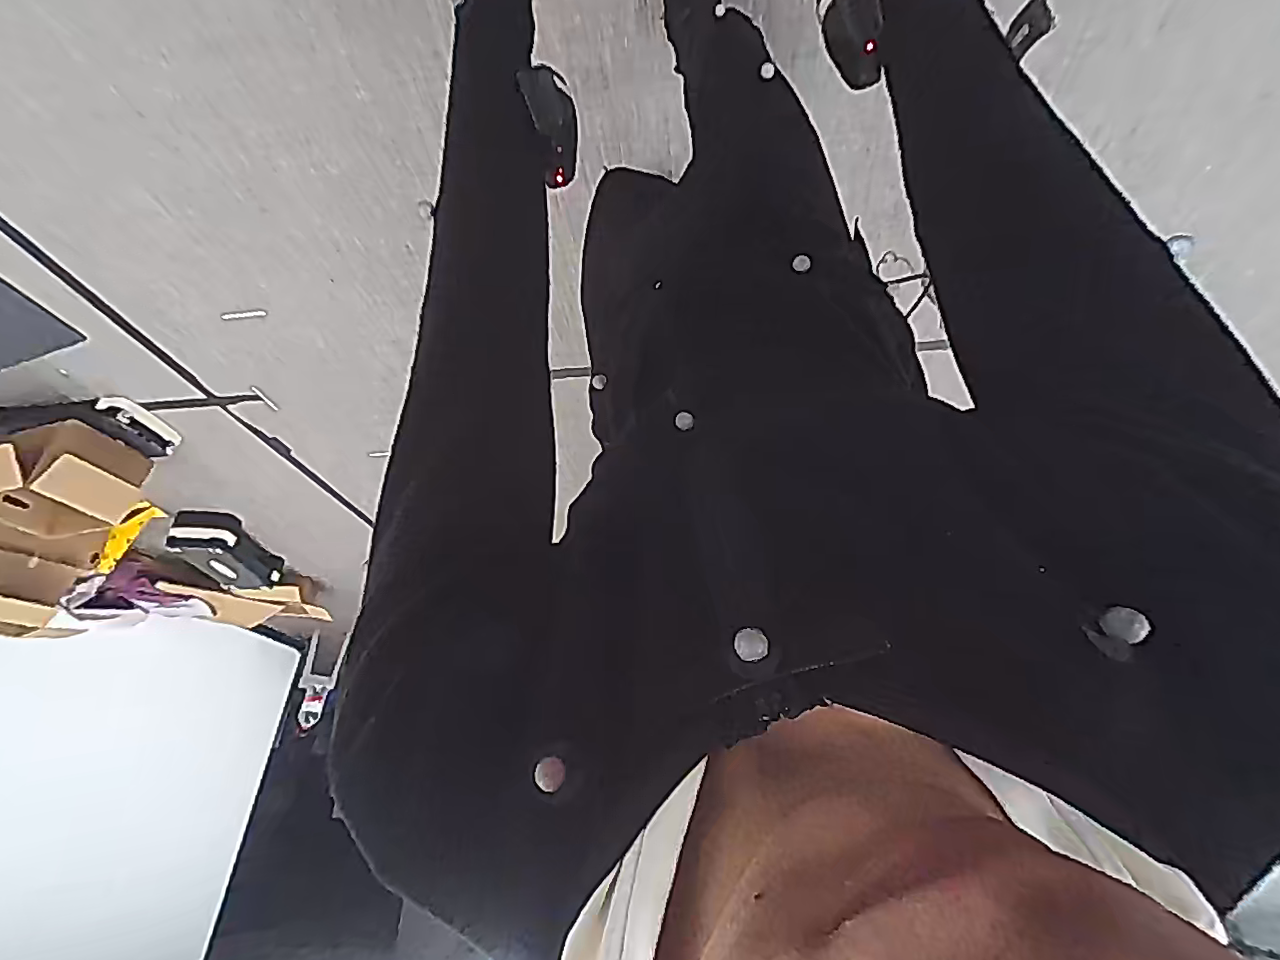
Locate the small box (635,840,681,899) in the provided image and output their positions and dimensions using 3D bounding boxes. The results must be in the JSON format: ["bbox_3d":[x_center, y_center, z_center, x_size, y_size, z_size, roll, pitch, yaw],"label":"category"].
[{"bbox_3d":[0.070,1.475,2.058,0.168,0.176,0.179,-4,149,4],"label":"small box"}]
